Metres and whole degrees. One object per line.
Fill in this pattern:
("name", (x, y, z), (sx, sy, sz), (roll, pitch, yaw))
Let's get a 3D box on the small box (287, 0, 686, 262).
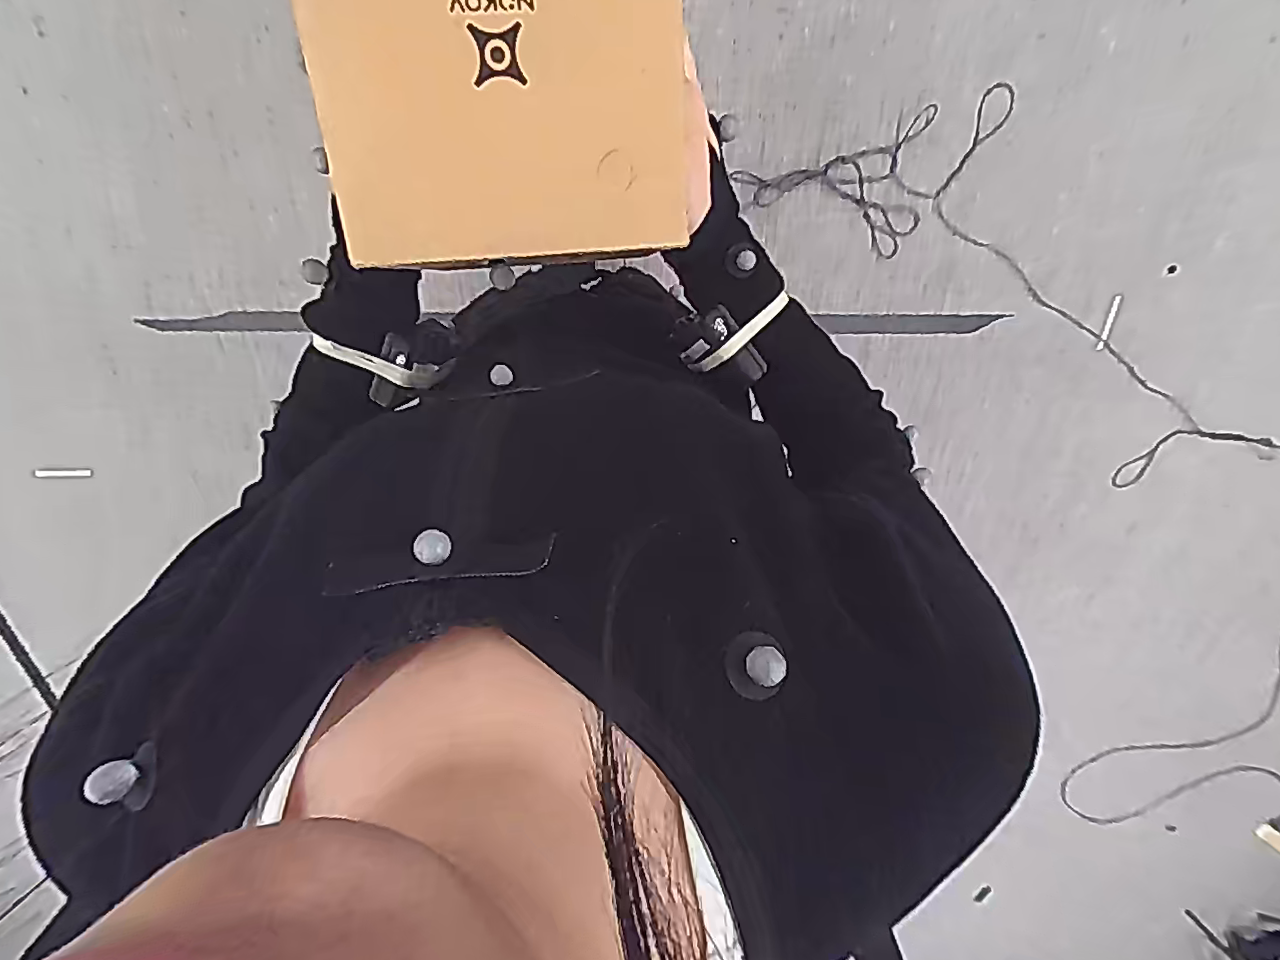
("small box", (-0.068, -0.220, 0.303), (0.168, 0.176, 0.179), (-5, 110, -4))
